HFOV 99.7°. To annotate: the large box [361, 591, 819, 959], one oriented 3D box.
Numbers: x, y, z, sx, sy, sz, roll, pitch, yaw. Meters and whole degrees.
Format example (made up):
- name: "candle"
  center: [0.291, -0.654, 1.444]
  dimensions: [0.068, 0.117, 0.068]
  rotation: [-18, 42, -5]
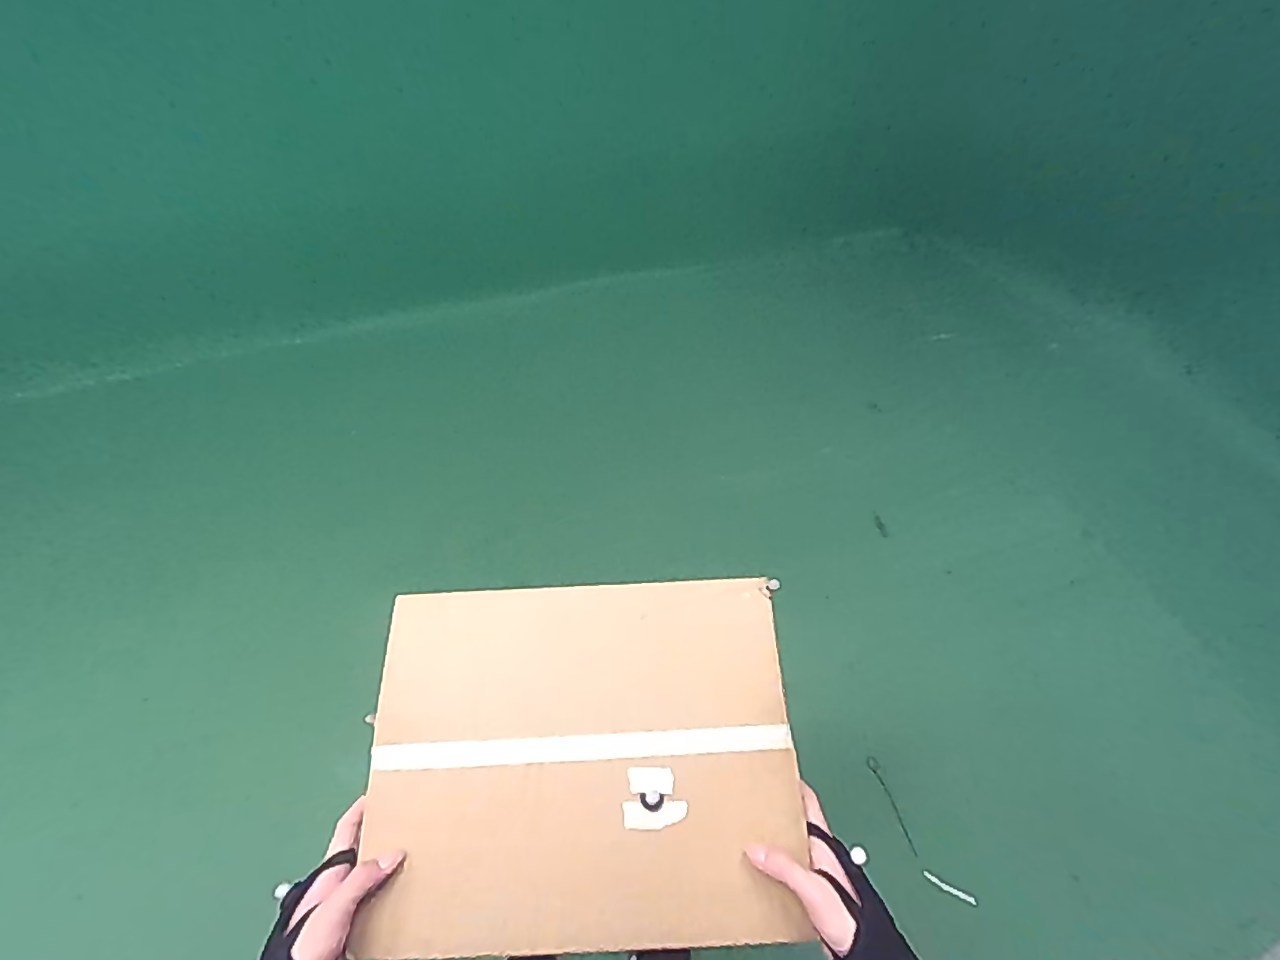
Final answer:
- name: "large box"
  center: [-0.049, 0.334, 0.660]
  dimensions: [0.408, 0.320, 0.320]
  rotation: [-2, 65, 0]
